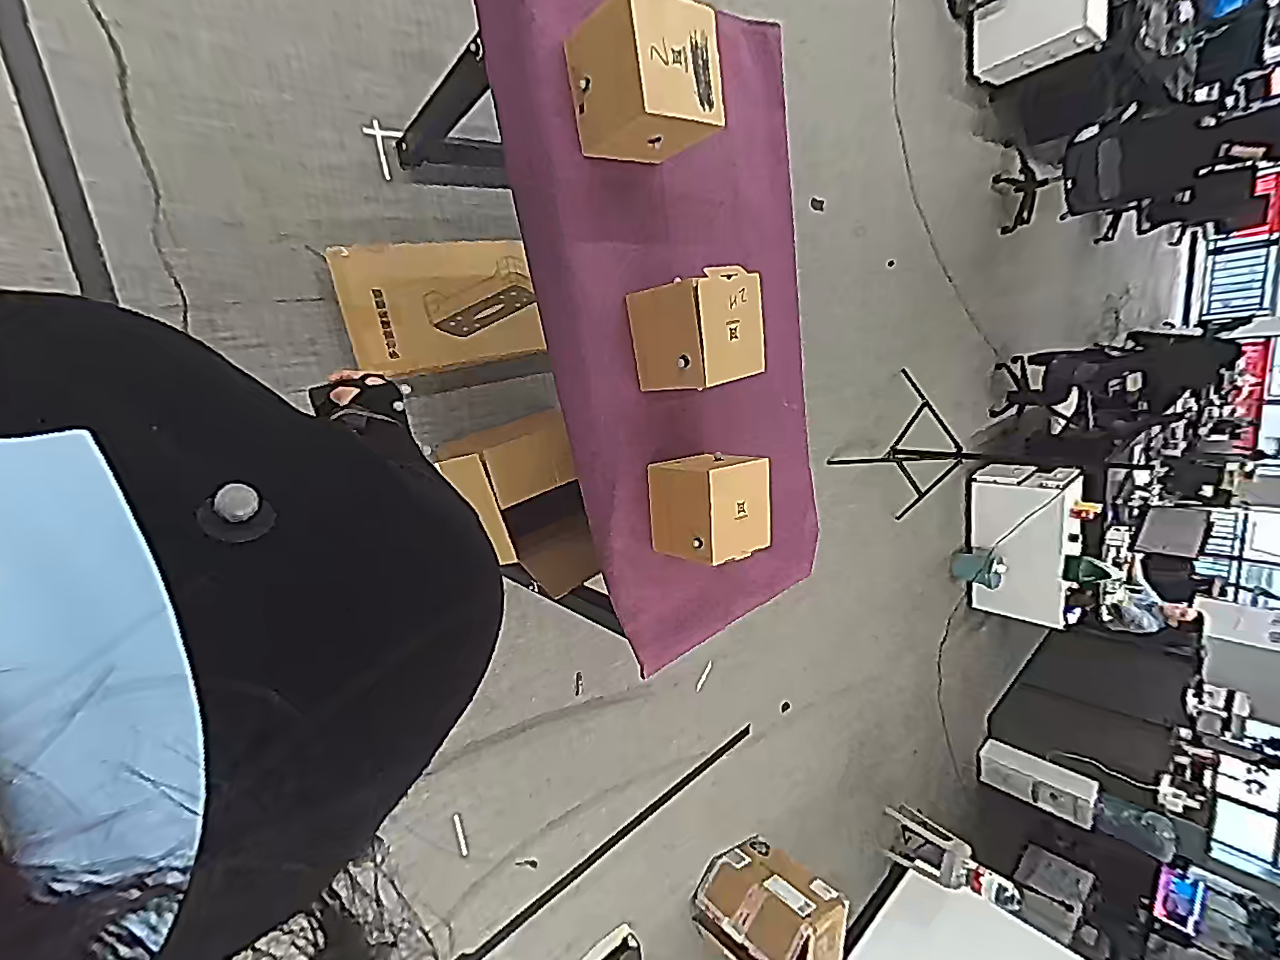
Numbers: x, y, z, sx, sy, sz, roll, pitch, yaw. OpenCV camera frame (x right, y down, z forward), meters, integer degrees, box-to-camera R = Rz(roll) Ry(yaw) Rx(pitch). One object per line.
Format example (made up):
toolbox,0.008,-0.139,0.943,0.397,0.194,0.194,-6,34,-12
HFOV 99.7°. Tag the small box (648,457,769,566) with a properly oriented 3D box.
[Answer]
small box,0.129,0.050,1.044,0.168,0.176,0.179,-12,103,-38

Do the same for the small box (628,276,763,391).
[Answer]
small box,0.099,-0.261,0.978,0.168,0.176,0.179,-21,109,-39
